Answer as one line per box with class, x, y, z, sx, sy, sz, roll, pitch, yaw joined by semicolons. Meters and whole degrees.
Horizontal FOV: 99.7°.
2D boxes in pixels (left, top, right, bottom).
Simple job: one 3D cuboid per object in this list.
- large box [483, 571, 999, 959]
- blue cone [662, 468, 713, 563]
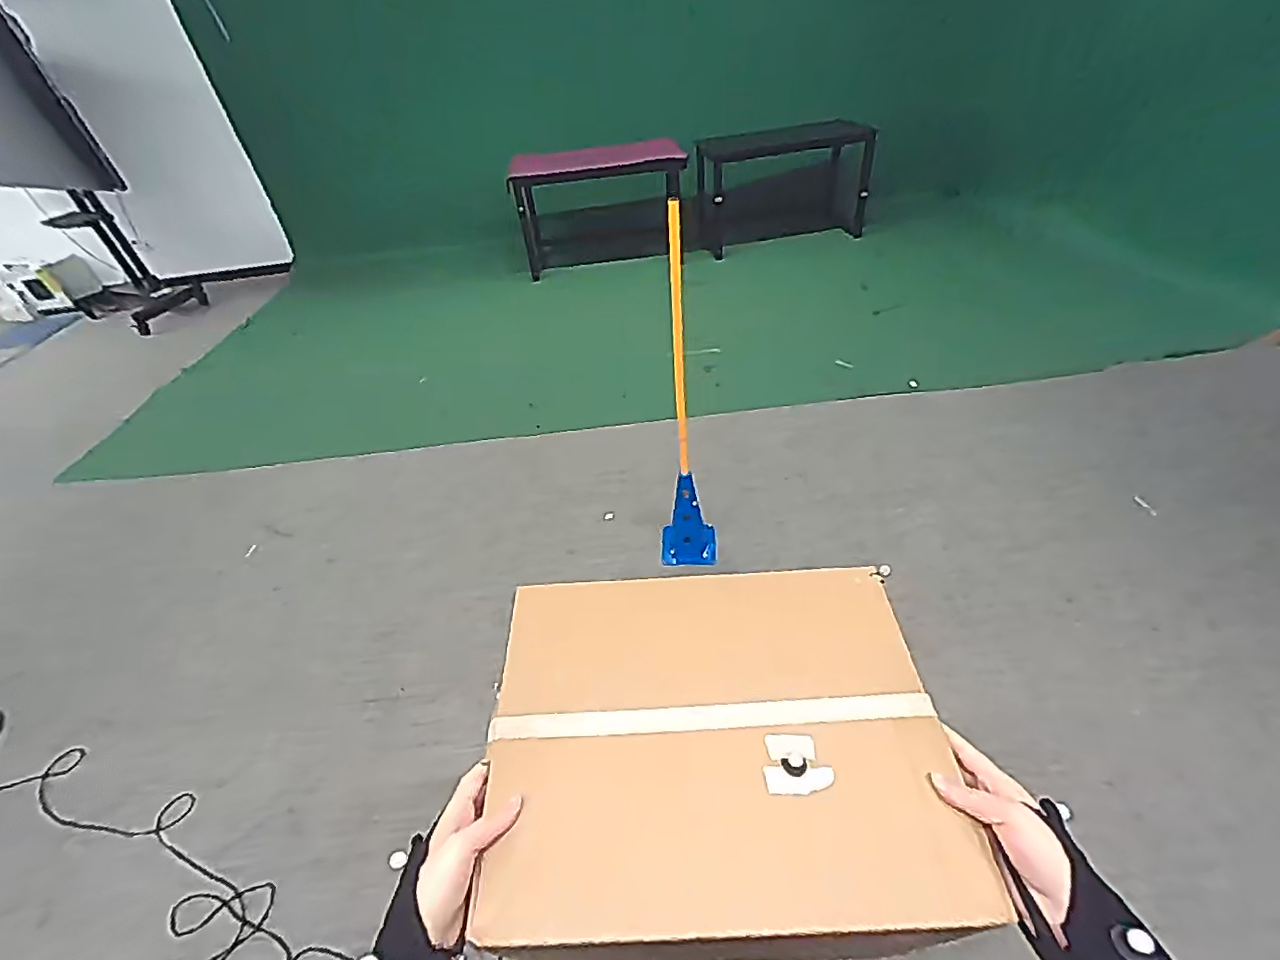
large box;0.074;0.329;0.616;0.408;0.320;0.320;-3;46;0
blue cone;0.164;0.118;1.940;0.193;0.380;0.192;-1;40;7
